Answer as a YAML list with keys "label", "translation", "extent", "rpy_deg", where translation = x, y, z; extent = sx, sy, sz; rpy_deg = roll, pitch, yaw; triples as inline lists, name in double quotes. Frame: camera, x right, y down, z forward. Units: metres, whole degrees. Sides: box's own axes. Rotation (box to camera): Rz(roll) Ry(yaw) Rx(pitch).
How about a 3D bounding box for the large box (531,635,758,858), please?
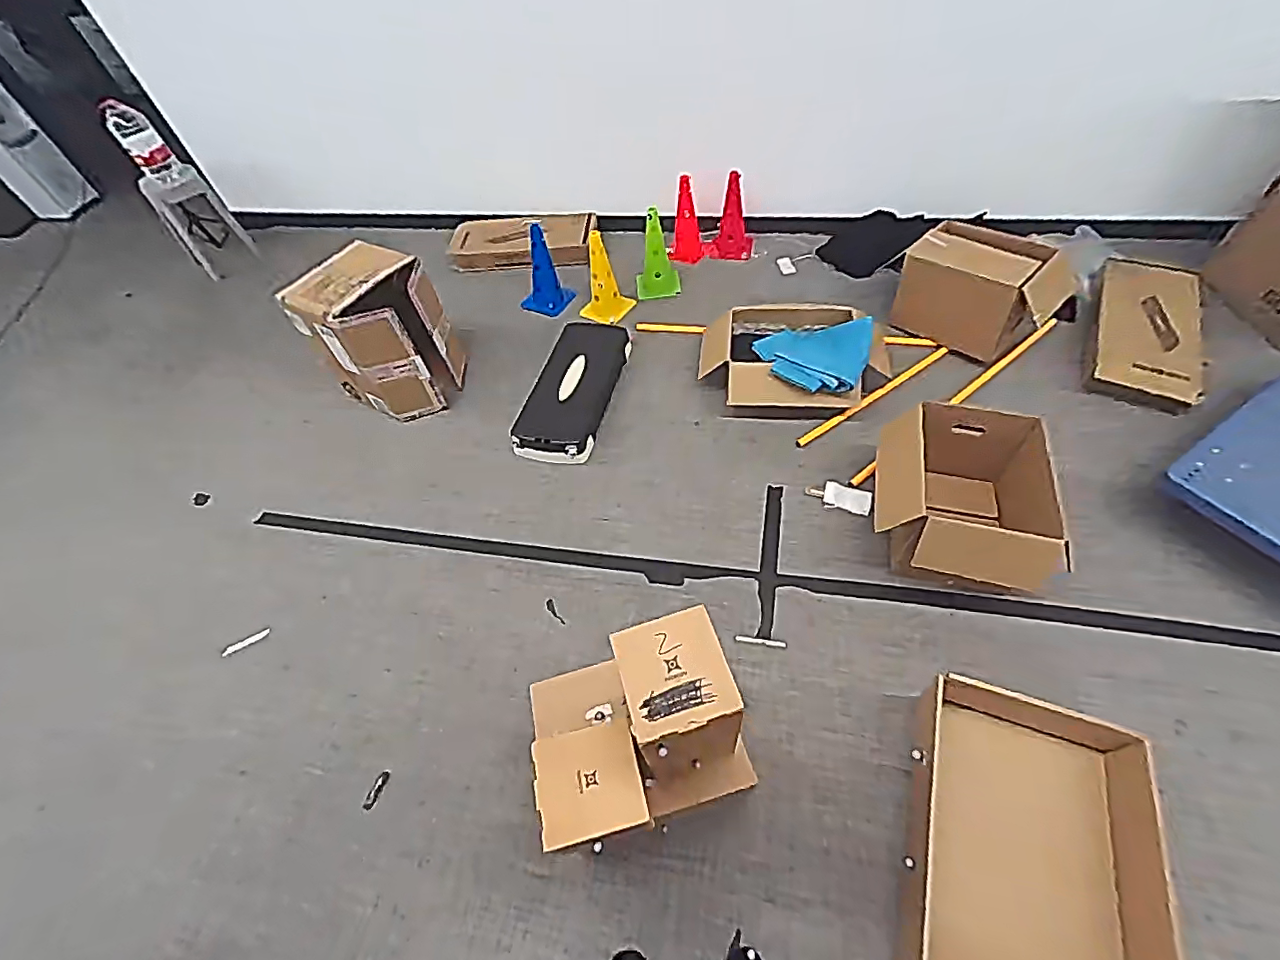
- label: "large box"
  translation: [0.011, 0.601, 1.212]
  extent: [0.408, 0.320, 0.320]
  rpy_deg: [-17, 52, -5]

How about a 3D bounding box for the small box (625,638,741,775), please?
- label: "small box"
  translation: [0.078, 0.432, 1.023]
  extent: [0.168, 0.176, 0.179]
  rpy_deg: [-17, 54, -5]
